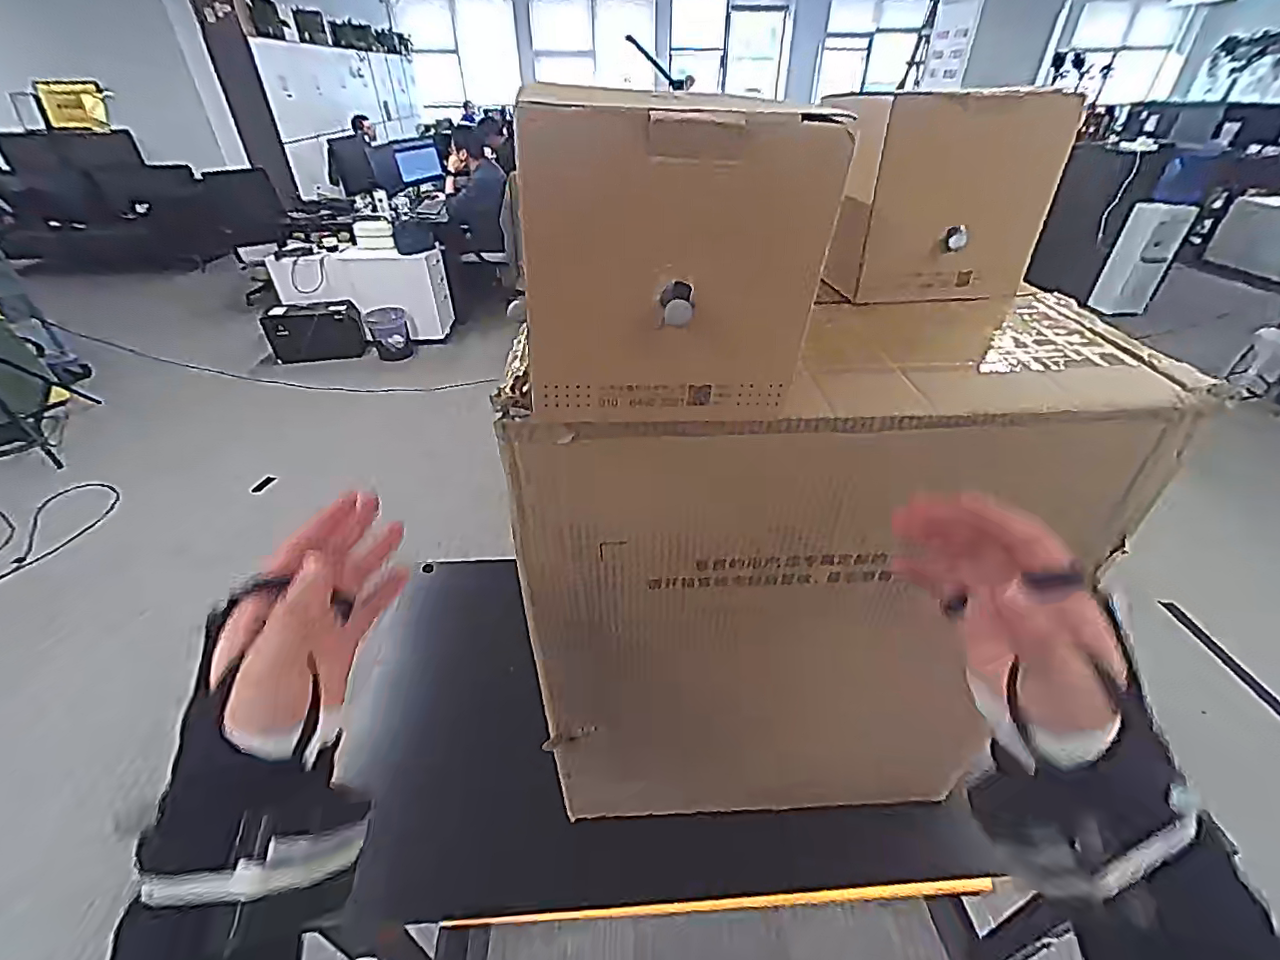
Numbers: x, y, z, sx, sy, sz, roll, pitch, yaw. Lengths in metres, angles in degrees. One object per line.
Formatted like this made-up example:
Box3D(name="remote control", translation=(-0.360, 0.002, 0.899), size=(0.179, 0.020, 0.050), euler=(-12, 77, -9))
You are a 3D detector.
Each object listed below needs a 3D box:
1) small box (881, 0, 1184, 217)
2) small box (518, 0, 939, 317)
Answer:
Box3D(name="small box", translation=(0.291, -0.333, 0.469), size=(0.168, 0.176, 0.179), euler=(-4, 35, -3))
Box3D(name="small box", translation=(0.026, -0.195, 0.282), size=(0.168, 0.176, 0.179), euler=(-2, 40, -9))
